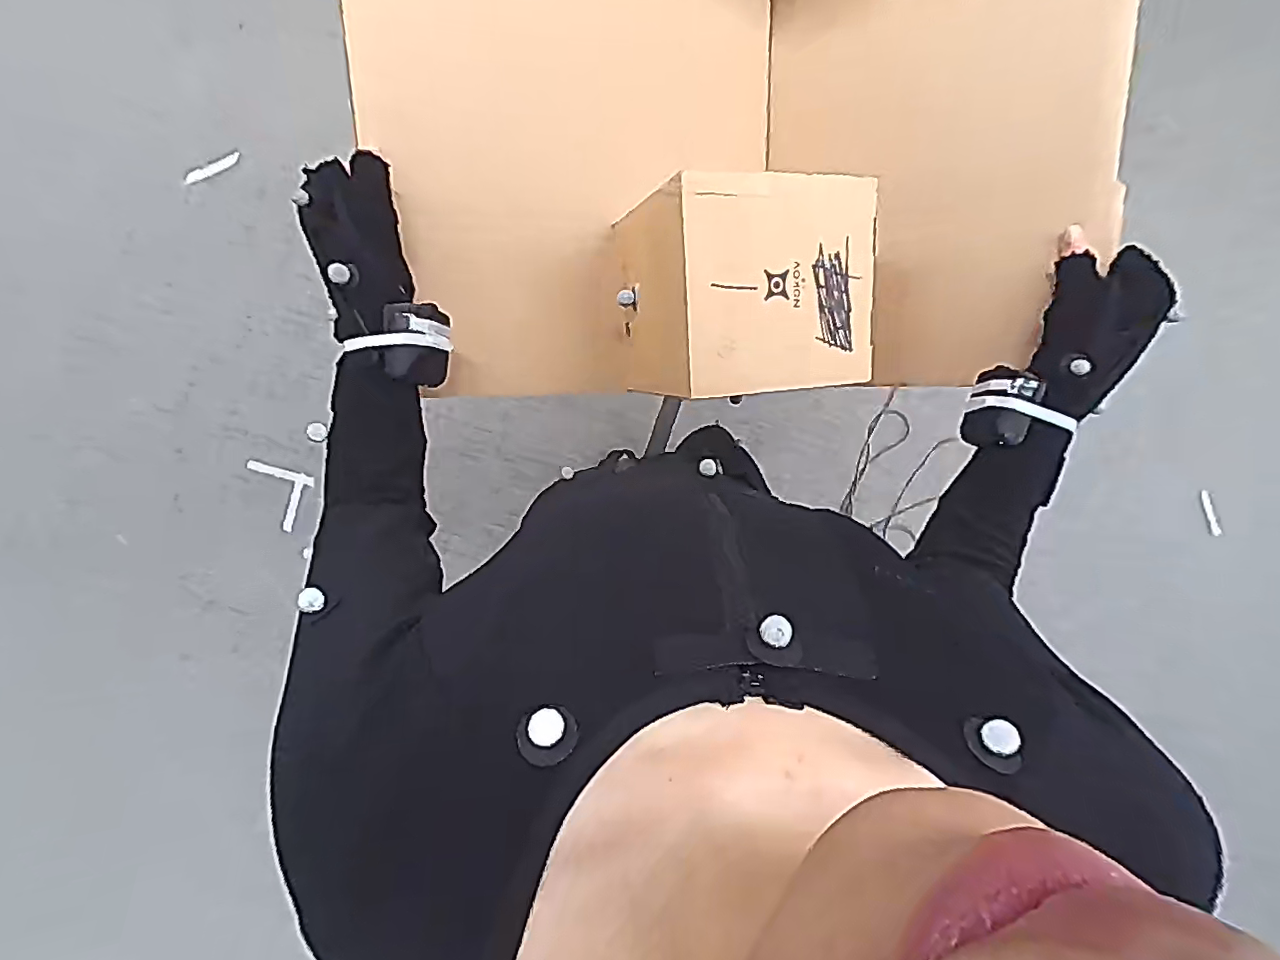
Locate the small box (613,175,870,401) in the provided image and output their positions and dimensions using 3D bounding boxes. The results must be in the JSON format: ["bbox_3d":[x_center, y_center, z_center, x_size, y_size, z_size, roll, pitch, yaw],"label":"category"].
[{"bbox_3d":[0.086,-0.169,0.507,0.179,0.176,0.168,-9,104,-17],"label":"small box"}]
